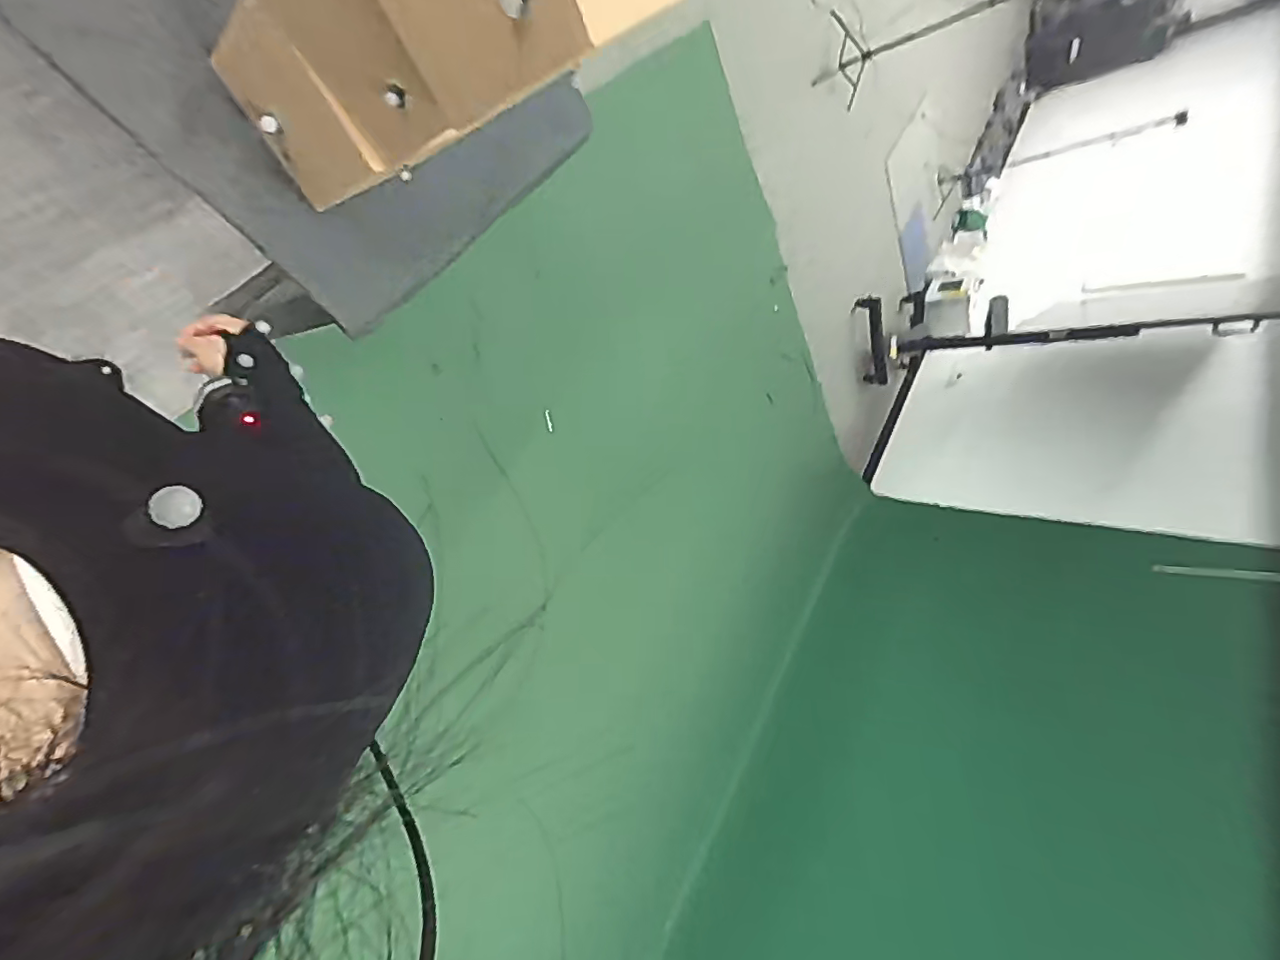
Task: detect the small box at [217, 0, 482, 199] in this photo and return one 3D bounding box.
[{"bbox_3d":[-0.324,-0.450,0.611,0.179,0.176,0.168,-52,129,-31],"label":"small box"}]

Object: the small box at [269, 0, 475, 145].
[{"bbox_3d":[-0.207,-0.445,0.499,0.179,0.176,0.168,53,55,-36],"label":"small box"}]

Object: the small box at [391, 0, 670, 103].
[{"bbox_3d":[-0.087,-0.408,0.389,0.168,0.176,0.179,-56,131,-31],"label":"small box"}]
